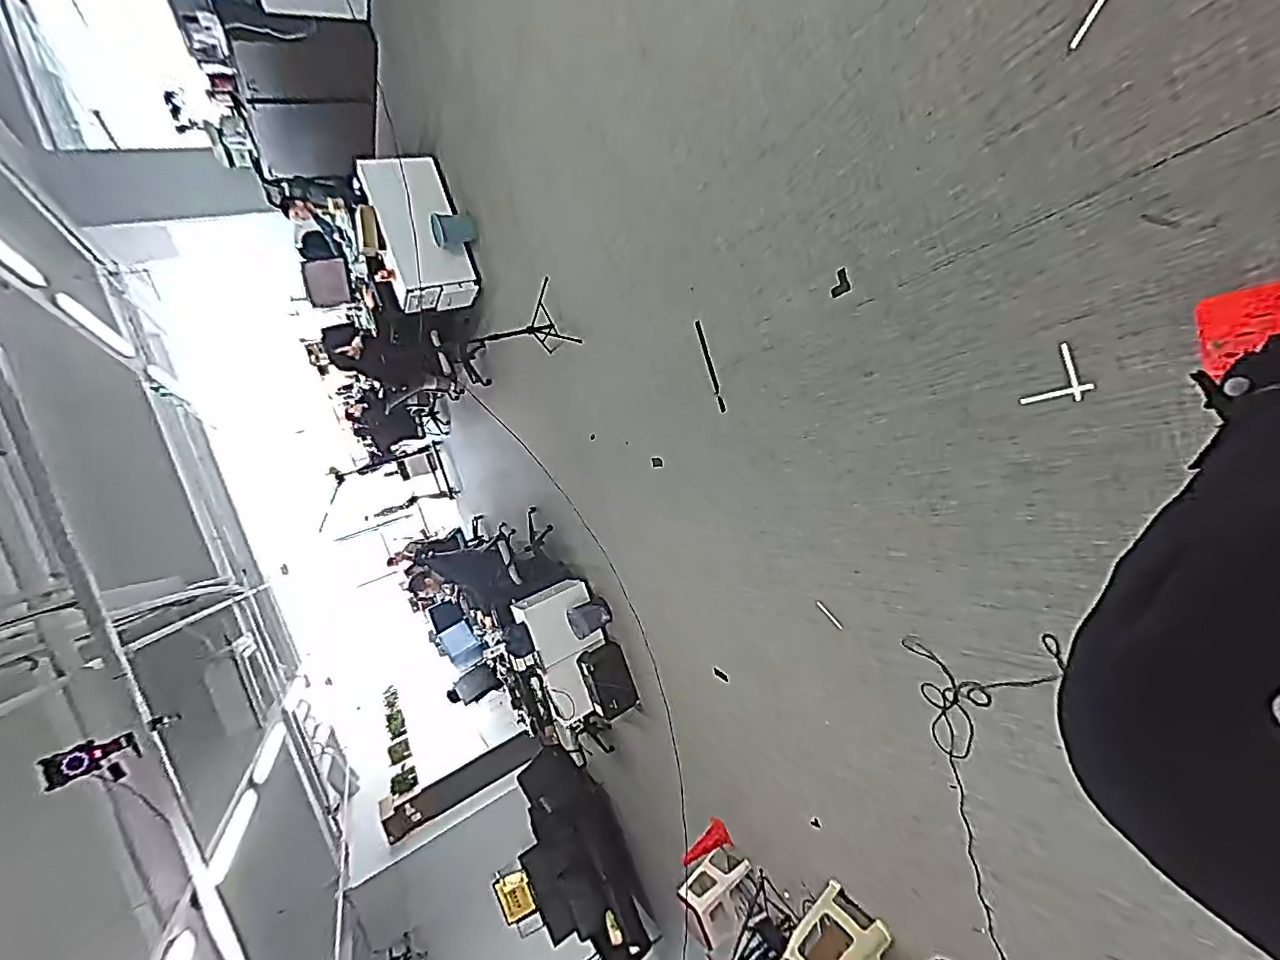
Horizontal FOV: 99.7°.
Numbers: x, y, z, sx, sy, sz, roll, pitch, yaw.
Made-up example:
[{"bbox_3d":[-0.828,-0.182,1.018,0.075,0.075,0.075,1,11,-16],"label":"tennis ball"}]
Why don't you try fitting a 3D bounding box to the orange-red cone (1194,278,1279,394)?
[{"bbox_3d":[0.984,-0.205,0.873,0.199,0.360,0.198,0,107,62],"label":"orange-red cone"}]
